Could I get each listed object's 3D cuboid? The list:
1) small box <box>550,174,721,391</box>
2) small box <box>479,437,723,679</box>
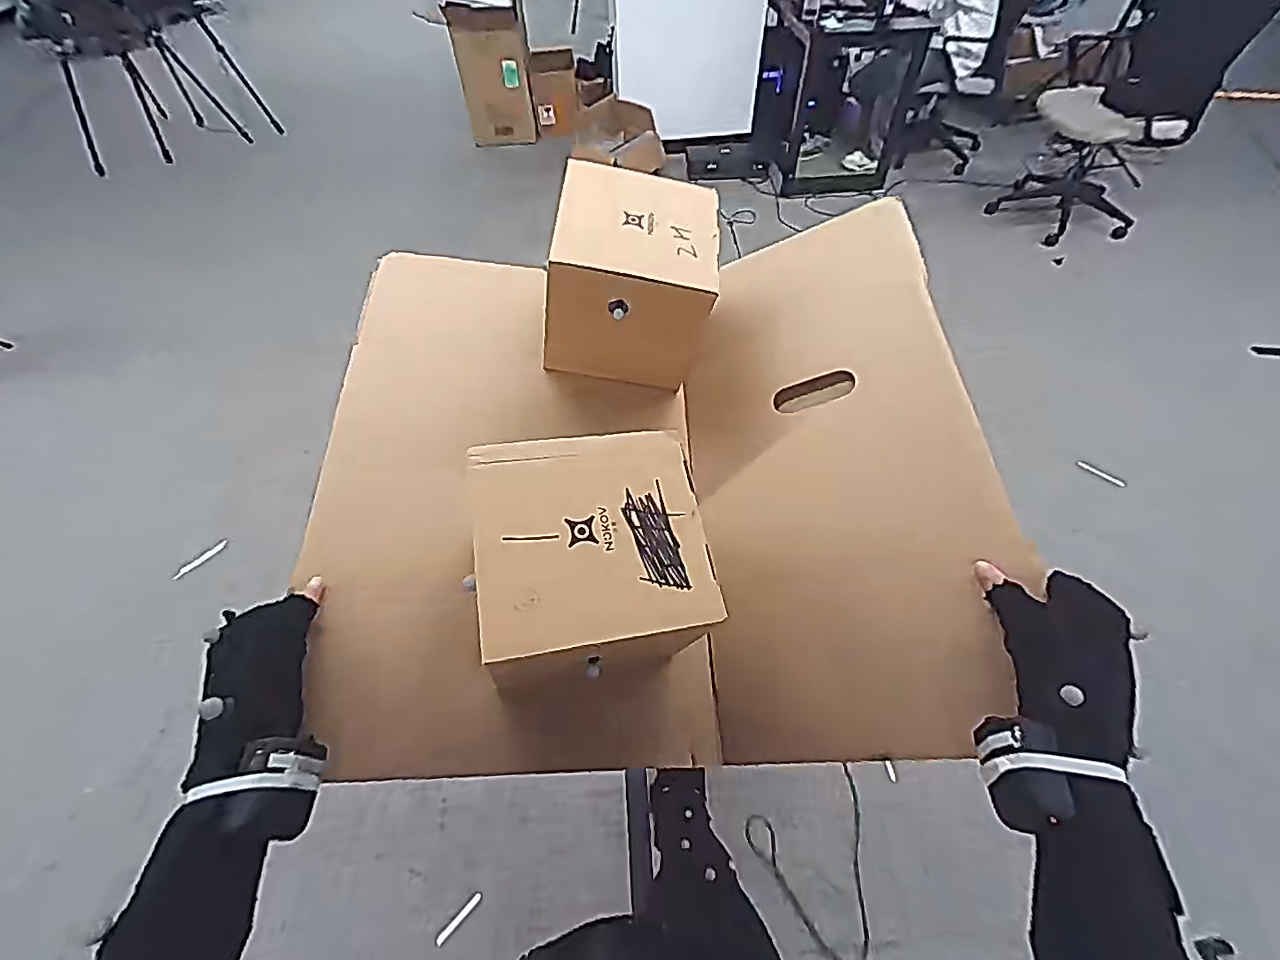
[{"bbox_3d":[-0.010,-0.229,0.659,0.179,0.176,0.168,10,62,-8],"label":"small box"},{"bbox_3d":[-0.047,0.076,0.493,0.179,0.176,0.168,-6,65,-14],"label":"small box"}]
